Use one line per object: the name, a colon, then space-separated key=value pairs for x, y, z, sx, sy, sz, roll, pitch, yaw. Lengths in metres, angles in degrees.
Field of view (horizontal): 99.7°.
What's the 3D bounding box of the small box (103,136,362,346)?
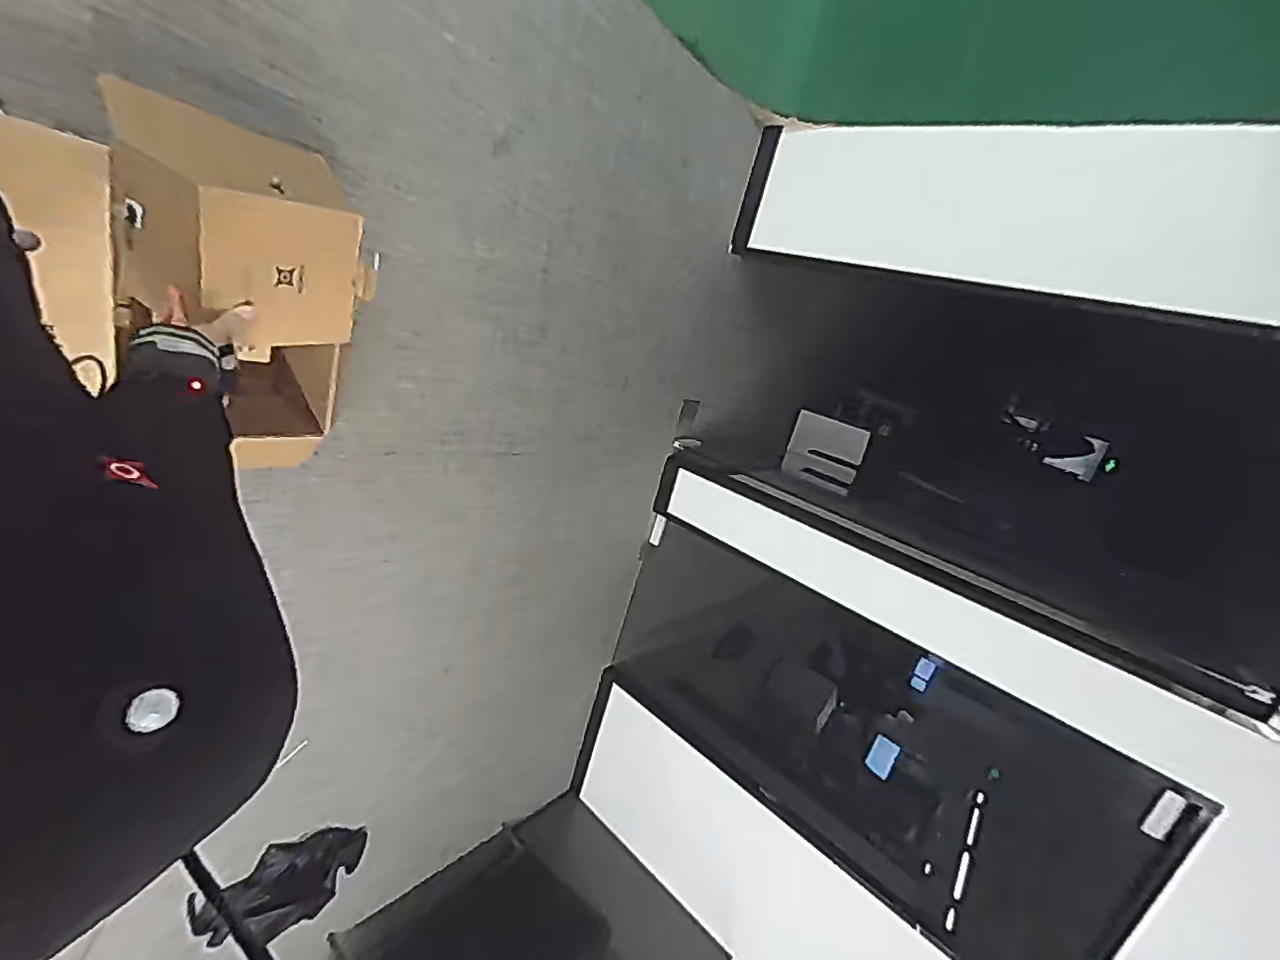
small box: x=-0.461 y=-0.270 z=0.626 sx=0.179 sy=0.176 sz=0.168 roll=-29 pitch=145 yaw=-57
